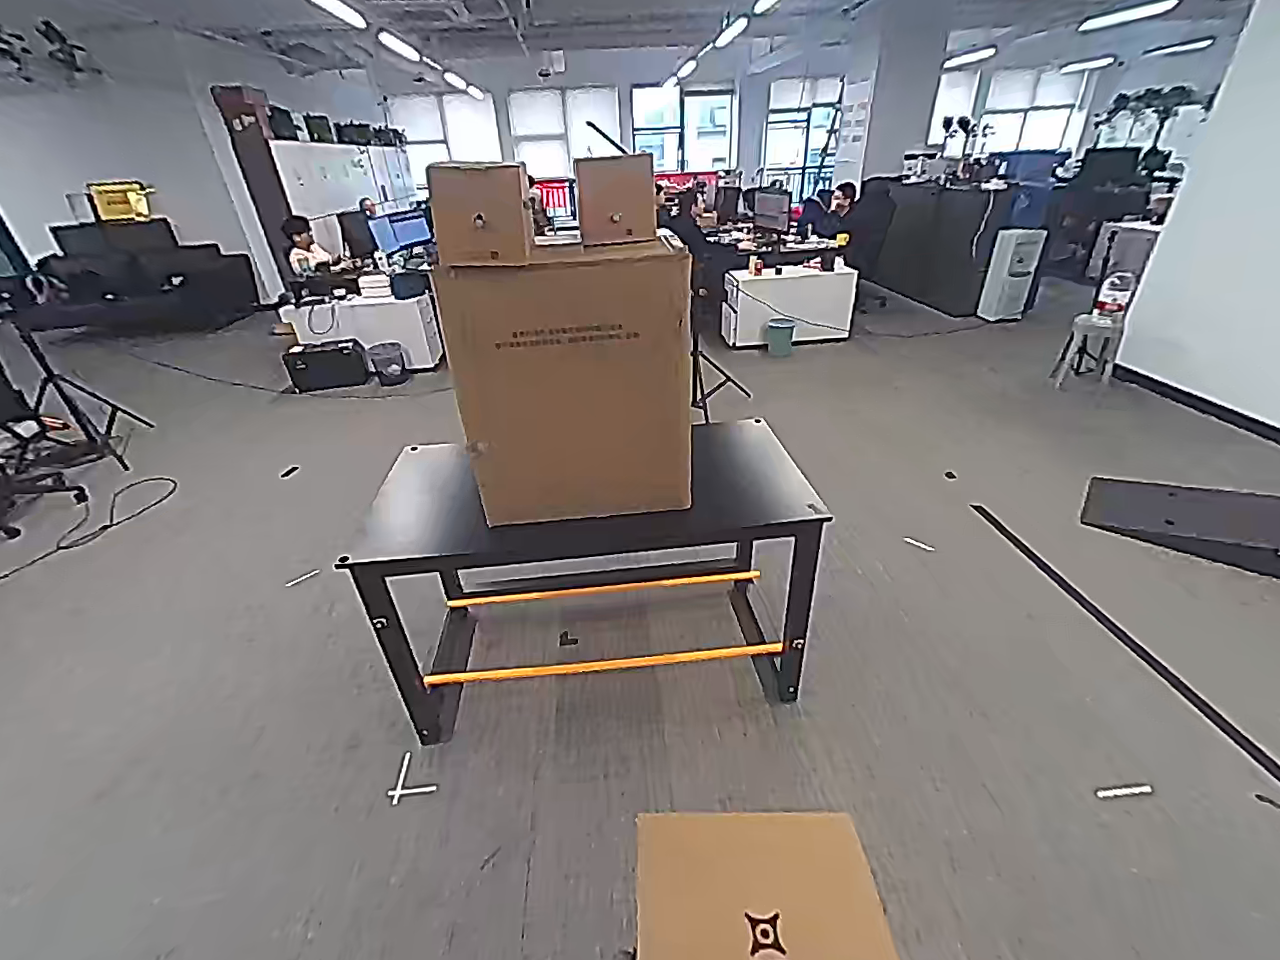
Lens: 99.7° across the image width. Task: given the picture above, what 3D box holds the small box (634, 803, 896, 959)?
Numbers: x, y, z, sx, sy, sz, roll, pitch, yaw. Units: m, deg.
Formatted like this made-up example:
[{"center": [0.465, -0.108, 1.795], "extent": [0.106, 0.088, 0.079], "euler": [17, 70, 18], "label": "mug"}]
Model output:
[{"center": [0.079, 0.364, 0.382], "extent": [0.168, 0.176, 0.179], "euler": [-1, 26, 2], "label": "small box"}]

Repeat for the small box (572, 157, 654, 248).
[{"center": [-0.063, -0.625, 1.222], "extent": [0.168, 0.176, 0.179], "euler": [-8, 30, -5], "label": "small box"}]

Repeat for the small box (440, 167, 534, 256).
[{"center": [-0.337, -0.607, 1.223], "extent": [0.168, 0.176, 0.179], "euler": [-6, 31, -4], "label": "small box"}]
